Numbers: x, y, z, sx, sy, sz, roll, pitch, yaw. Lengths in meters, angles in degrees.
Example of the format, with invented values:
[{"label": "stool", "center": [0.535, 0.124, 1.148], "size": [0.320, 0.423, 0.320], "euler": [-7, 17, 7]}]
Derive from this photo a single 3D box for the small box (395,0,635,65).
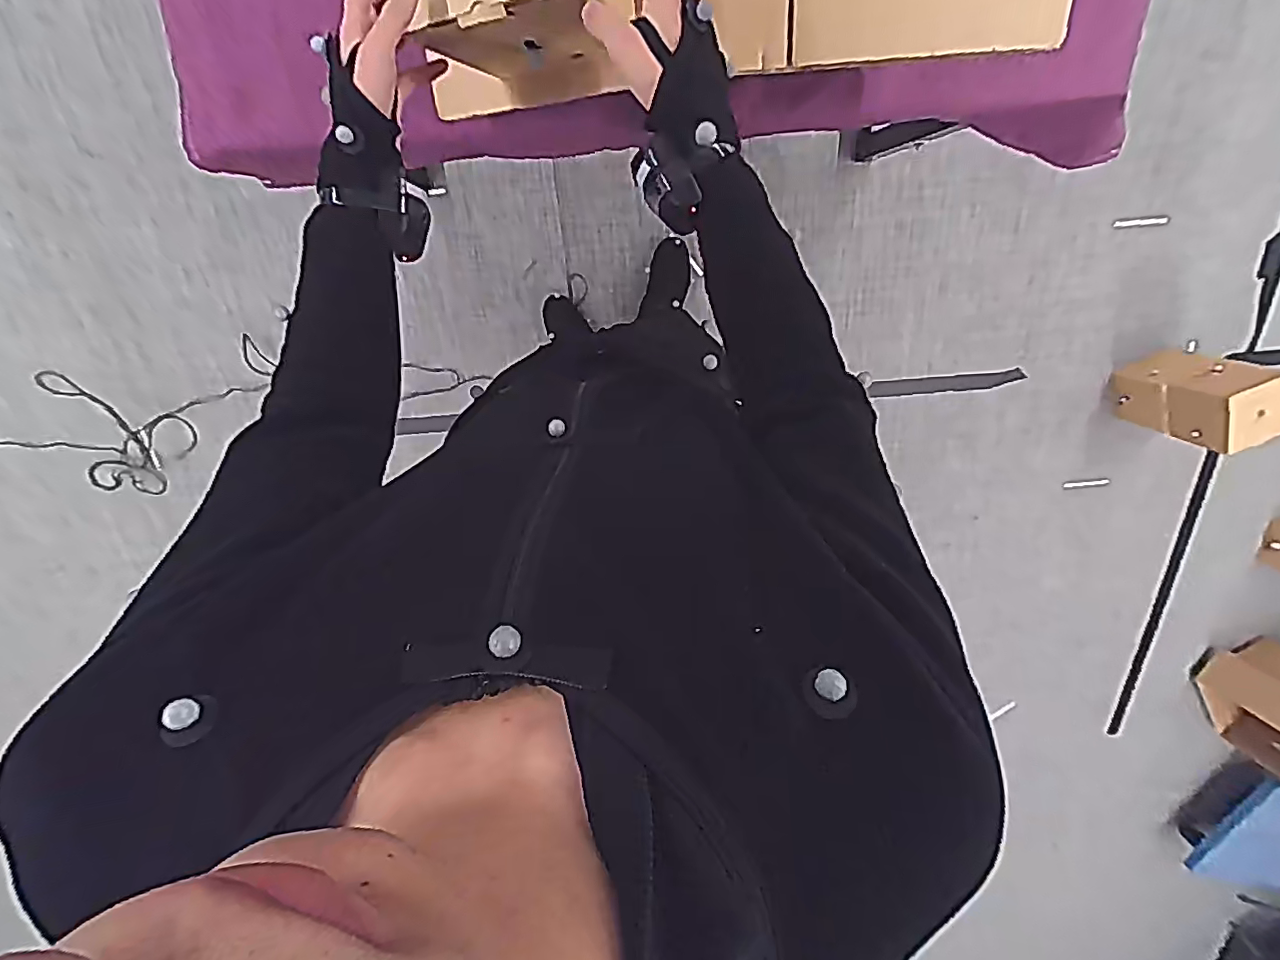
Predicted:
[{"label": "small box", "center": [-0.110, -0.490, 0.471], "size": [0.168, 0.176, 0.179], "euler": [3, 116, 18]}]
